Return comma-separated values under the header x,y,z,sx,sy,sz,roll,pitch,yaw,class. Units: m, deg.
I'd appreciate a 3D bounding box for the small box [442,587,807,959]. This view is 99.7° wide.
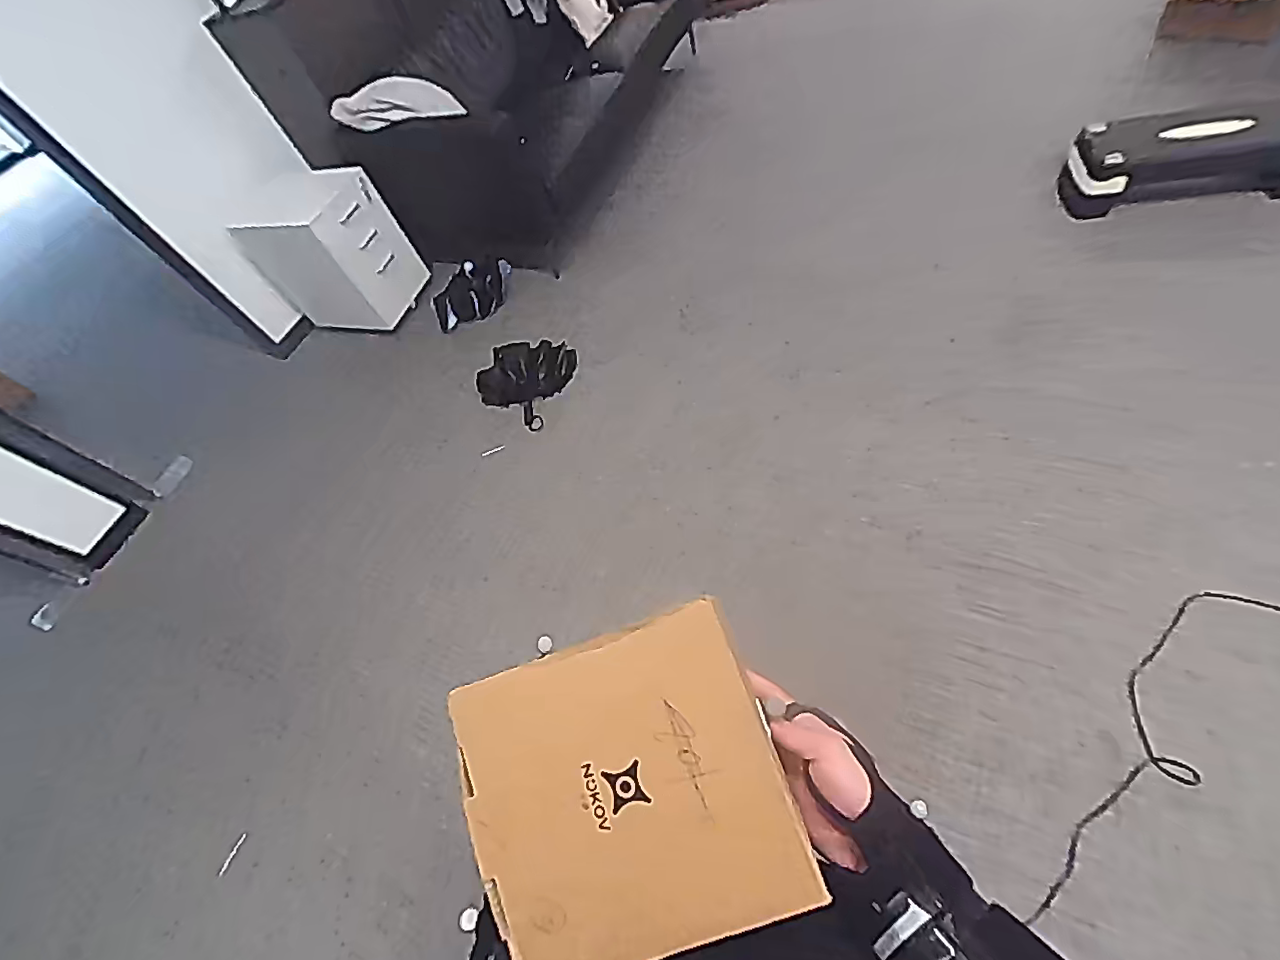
x,y,z,sx,sy,sz,roll,pitch,yaw,class
-0.004,0.184,0.383,0.179,0.176,0.168,-22,76,4,small box
